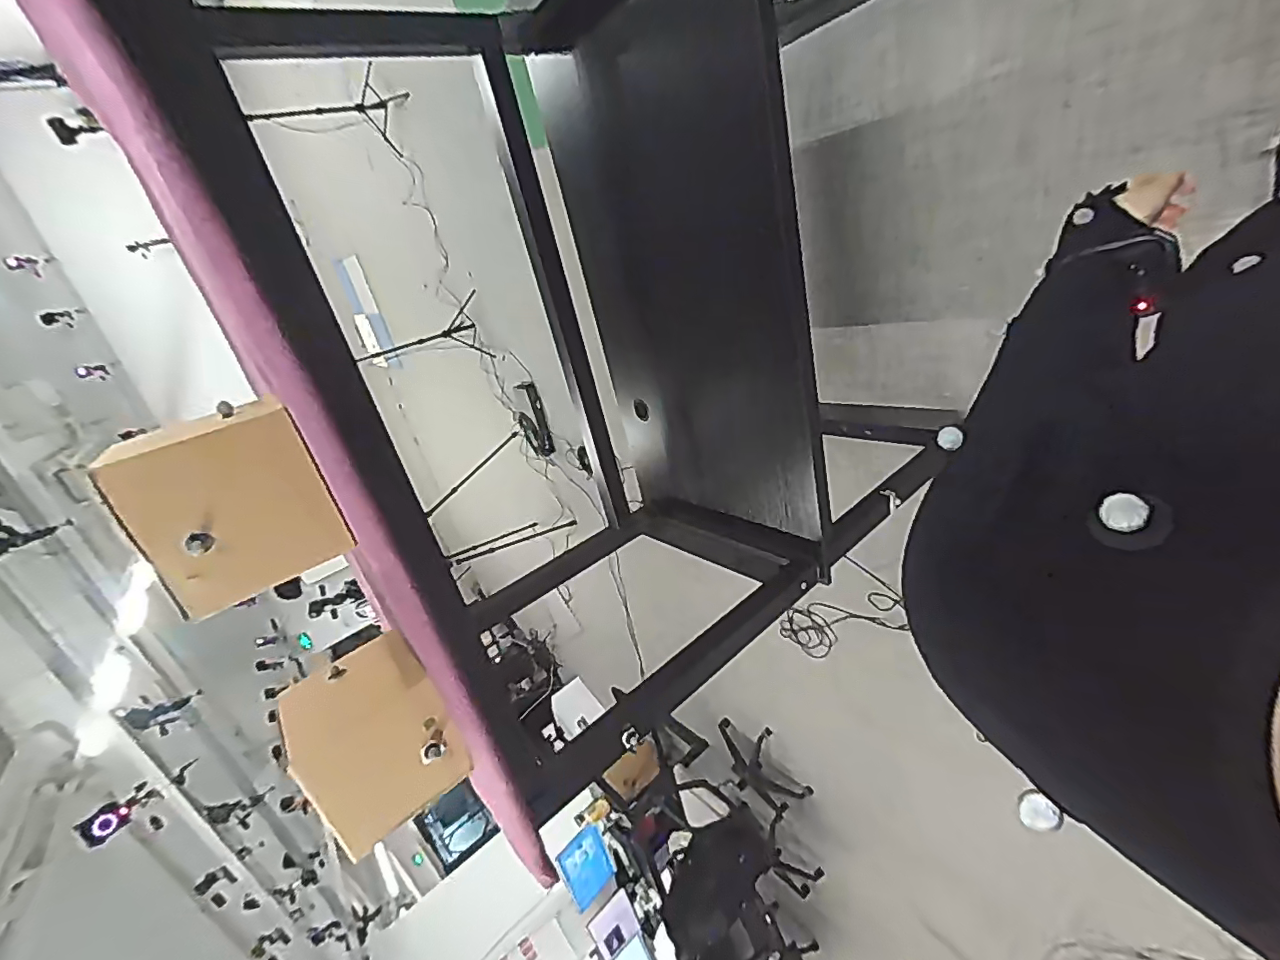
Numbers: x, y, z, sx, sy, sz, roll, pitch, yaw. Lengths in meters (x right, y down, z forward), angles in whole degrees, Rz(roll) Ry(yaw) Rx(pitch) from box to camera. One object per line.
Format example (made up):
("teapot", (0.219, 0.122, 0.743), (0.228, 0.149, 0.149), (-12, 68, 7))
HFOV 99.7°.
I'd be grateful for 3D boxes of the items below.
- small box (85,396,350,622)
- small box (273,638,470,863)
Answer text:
("small box", (-0.456, 0.020, 0.613), (0.168, 0.176, 0.179), (18, 128, 51))
("small box", (-0.352, 0.338, 0.719), (0.179, 0.176, 0.168), (10, 124, 52))
